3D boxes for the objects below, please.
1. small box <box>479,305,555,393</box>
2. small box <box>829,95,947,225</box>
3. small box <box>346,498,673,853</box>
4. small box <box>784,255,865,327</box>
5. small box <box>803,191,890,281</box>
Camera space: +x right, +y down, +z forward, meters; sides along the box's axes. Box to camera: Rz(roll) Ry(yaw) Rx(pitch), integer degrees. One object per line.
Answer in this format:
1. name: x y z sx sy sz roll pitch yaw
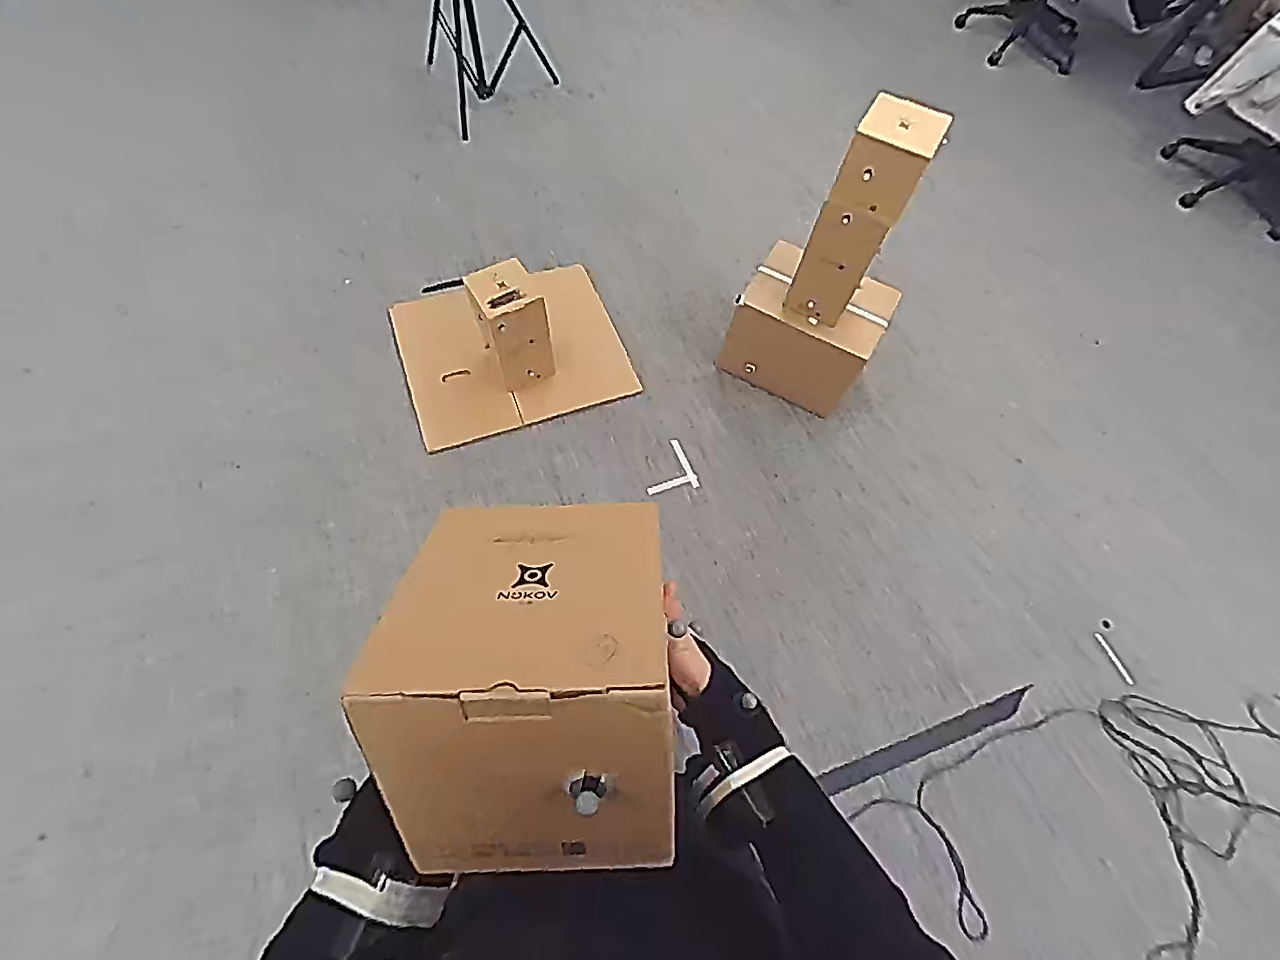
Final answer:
1. small box: -0.383 -0.407 1.697 0.168 0.176 0.179 -27 69 -14
2. small box: 0.546 -0.712 1.215 0.168 0.176 0.179 27 64 10
3. small box: -0.064 0.130 0.378 0.168 0.176 0.179 -2 29 0
4. small box: 0.522 -0.566 1.506 0.168 0.176 0.179 27 65 10
5. small box: 0.534 -0.642 1.362 0.168 0.176 0.179 27 64 10
